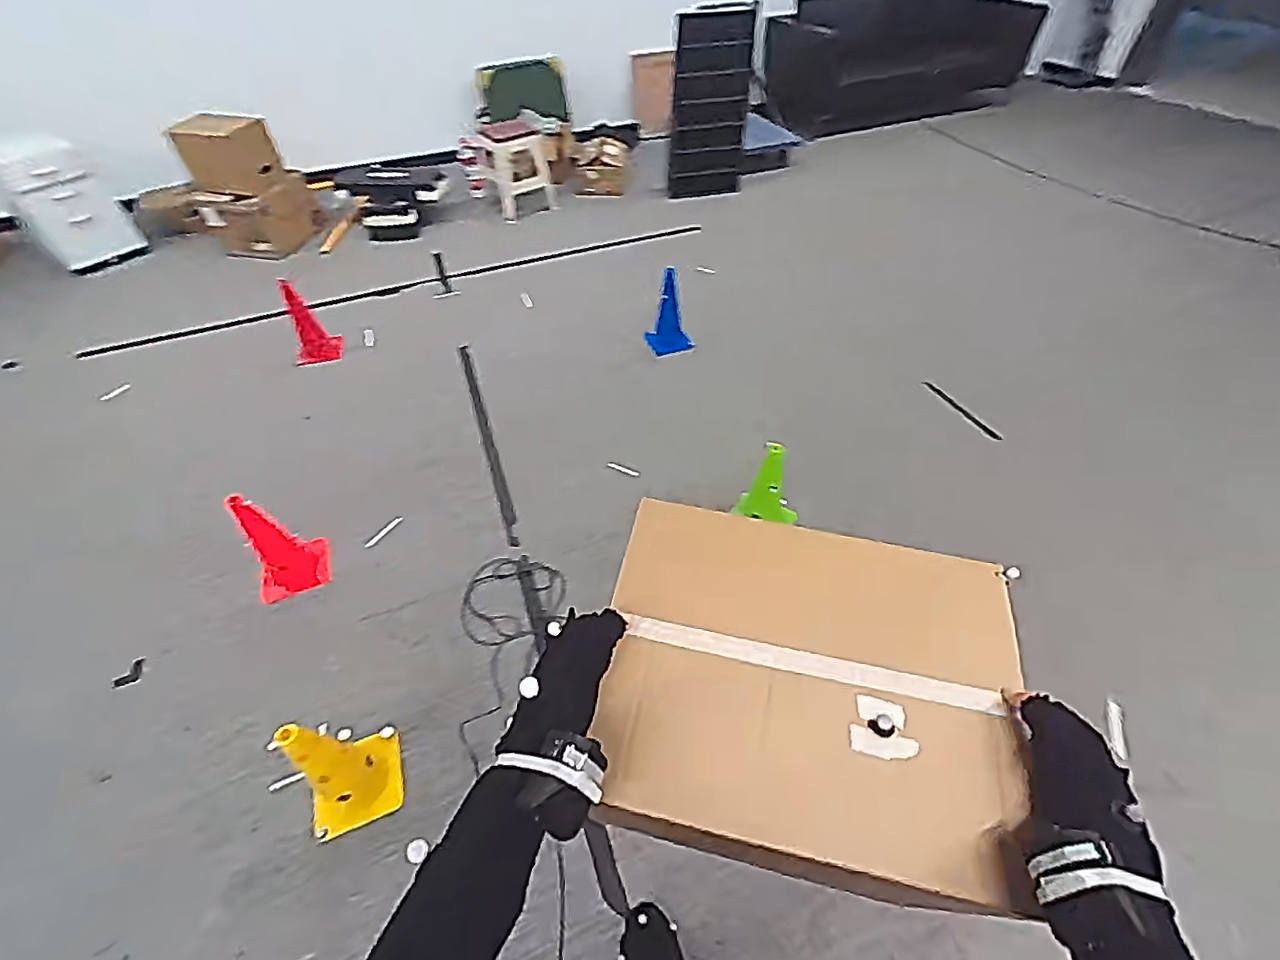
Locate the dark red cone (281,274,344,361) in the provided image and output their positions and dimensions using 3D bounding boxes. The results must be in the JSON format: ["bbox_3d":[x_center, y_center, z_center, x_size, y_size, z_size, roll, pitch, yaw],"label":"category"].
[{"bbox_3d":[-1.522,-0.743,2.457,0.201,0.394,0.202,-12,49,-10],"label":"dark red cone"}]

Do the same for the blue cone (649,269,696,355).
[{"bbox_3d":[0.148,-0.776,2.470,0.192,0.380,0.193,-14,49,-12],"label":"blue cone"}]

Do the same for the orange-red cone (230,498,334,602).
[{"bbox_3d":[-1.114,0.180,1.636,0.198,0.360,0.199,-20,51,-14],"label":"orange-red cone"}]

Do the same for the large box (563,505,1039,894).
[{"bbox_3d":[0.151,0.267,0.655,0.408,0.320,0.320,10,55,7],"label":"large box"}]

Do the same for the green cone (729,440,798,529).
[{"bbox_3d":[0.414,0.021,1.712,0.200,0.368,0.202,23,51,21],"label":"green cone"}]
